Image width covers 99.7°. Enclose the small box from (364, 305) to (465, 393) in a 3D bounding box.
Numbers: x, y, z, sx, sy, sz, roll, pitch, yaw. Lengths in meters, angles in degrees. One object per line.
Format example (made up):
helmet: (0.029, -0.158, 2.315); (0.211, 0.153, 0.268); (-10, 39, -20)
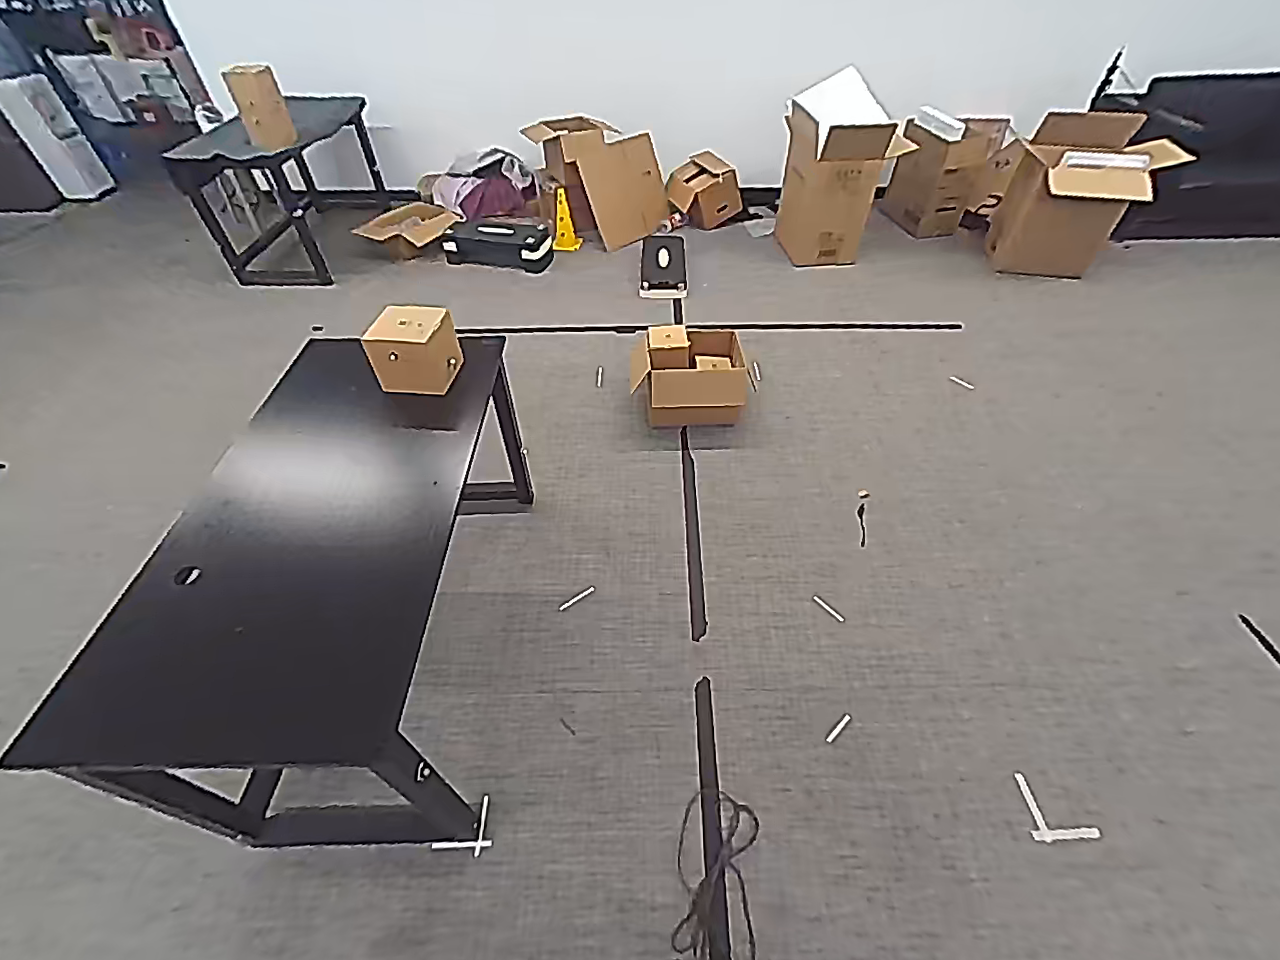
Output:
small box: (-0.599, -0.352, 1.461); (0.179, 0.176, 0.168); (5, 48, 5)
